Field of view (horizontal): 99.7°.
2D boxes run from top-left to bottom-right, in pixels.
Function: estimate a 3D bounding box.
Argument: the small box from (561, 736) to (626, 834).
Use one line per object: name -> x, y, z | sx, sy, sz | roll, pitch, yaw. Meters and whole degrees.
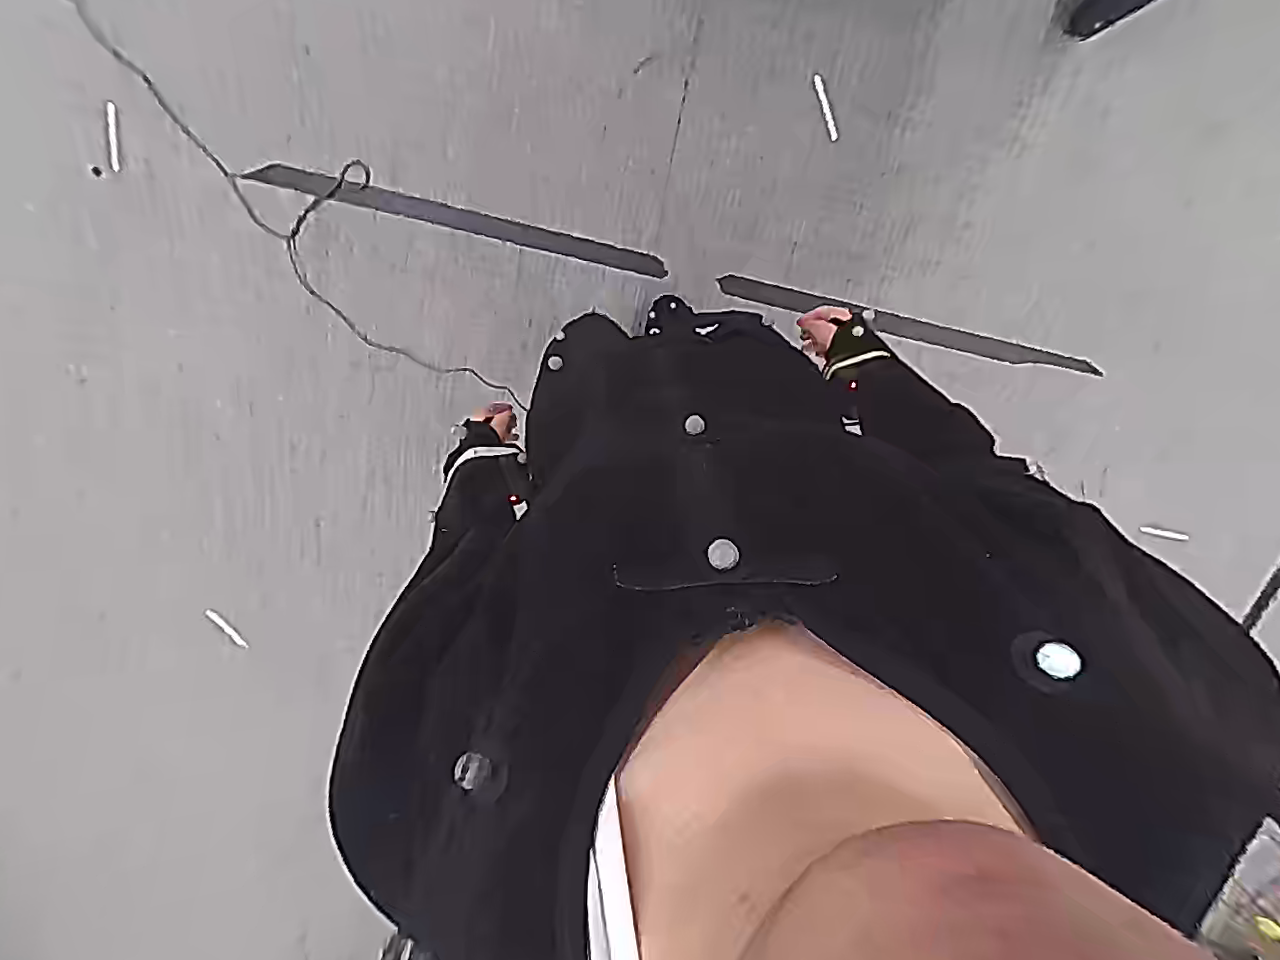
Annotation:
small box -> -0.131, 0.883, 1.572 | 0.168, 0.176, 0.179 | 6, 110, -3
